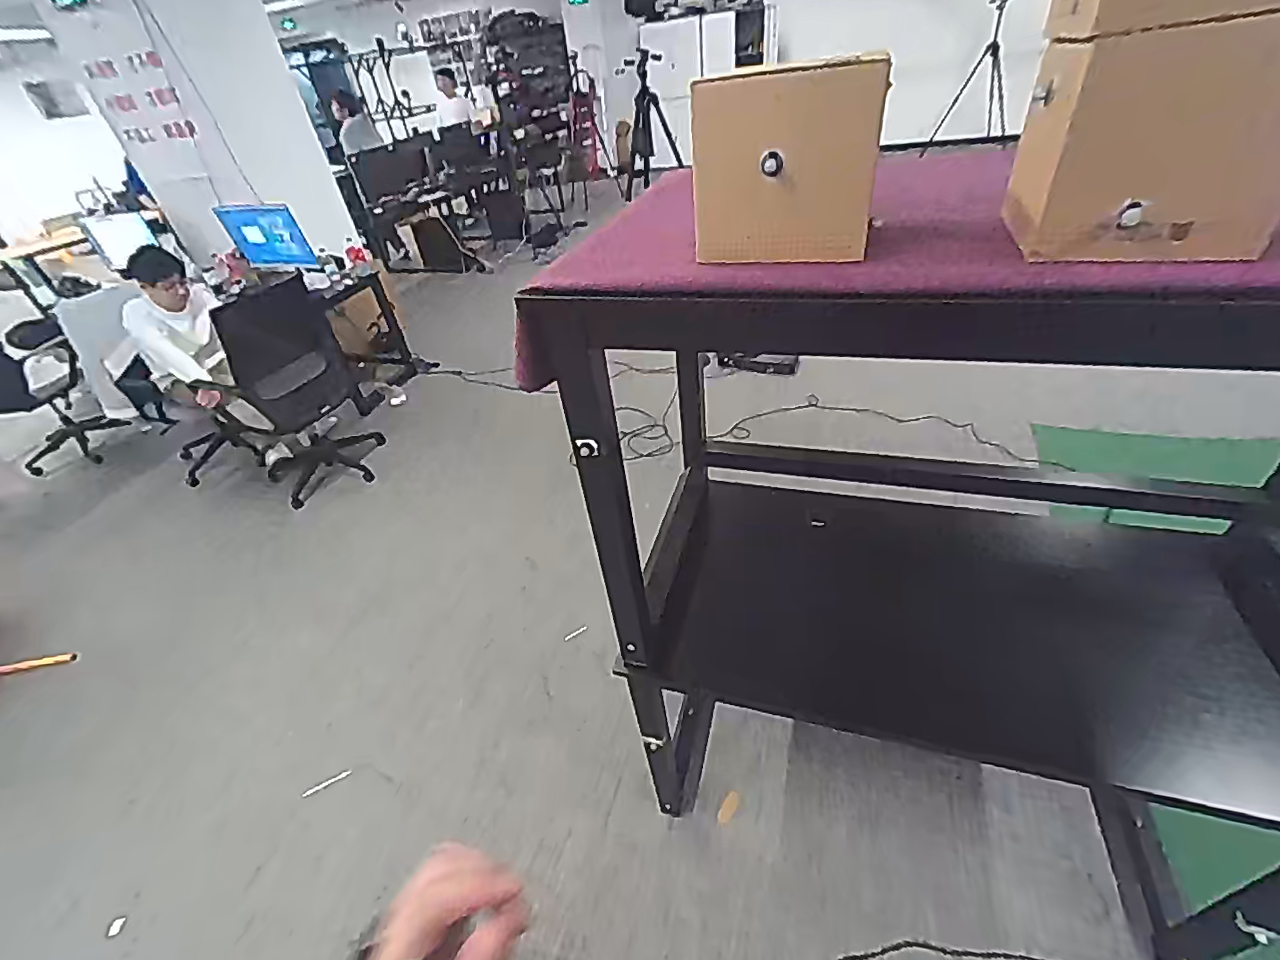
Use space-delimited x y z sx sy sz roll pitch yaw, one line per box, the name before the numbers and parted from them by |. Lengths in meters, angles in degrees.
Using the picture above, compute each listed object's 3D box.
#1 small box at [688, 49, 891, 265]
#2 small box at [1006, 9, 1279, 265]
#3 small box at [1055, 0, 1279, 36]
small box | 0.160 -0.341 0.581 0.179 0.176 0.168 6 40 19
small box | 0.450 -0.304 0.482 0.168 0.176 0.179 7 41 21
small box | 0.425 -0.430 0.379 0.179 0.176 0.168 7 40 21
